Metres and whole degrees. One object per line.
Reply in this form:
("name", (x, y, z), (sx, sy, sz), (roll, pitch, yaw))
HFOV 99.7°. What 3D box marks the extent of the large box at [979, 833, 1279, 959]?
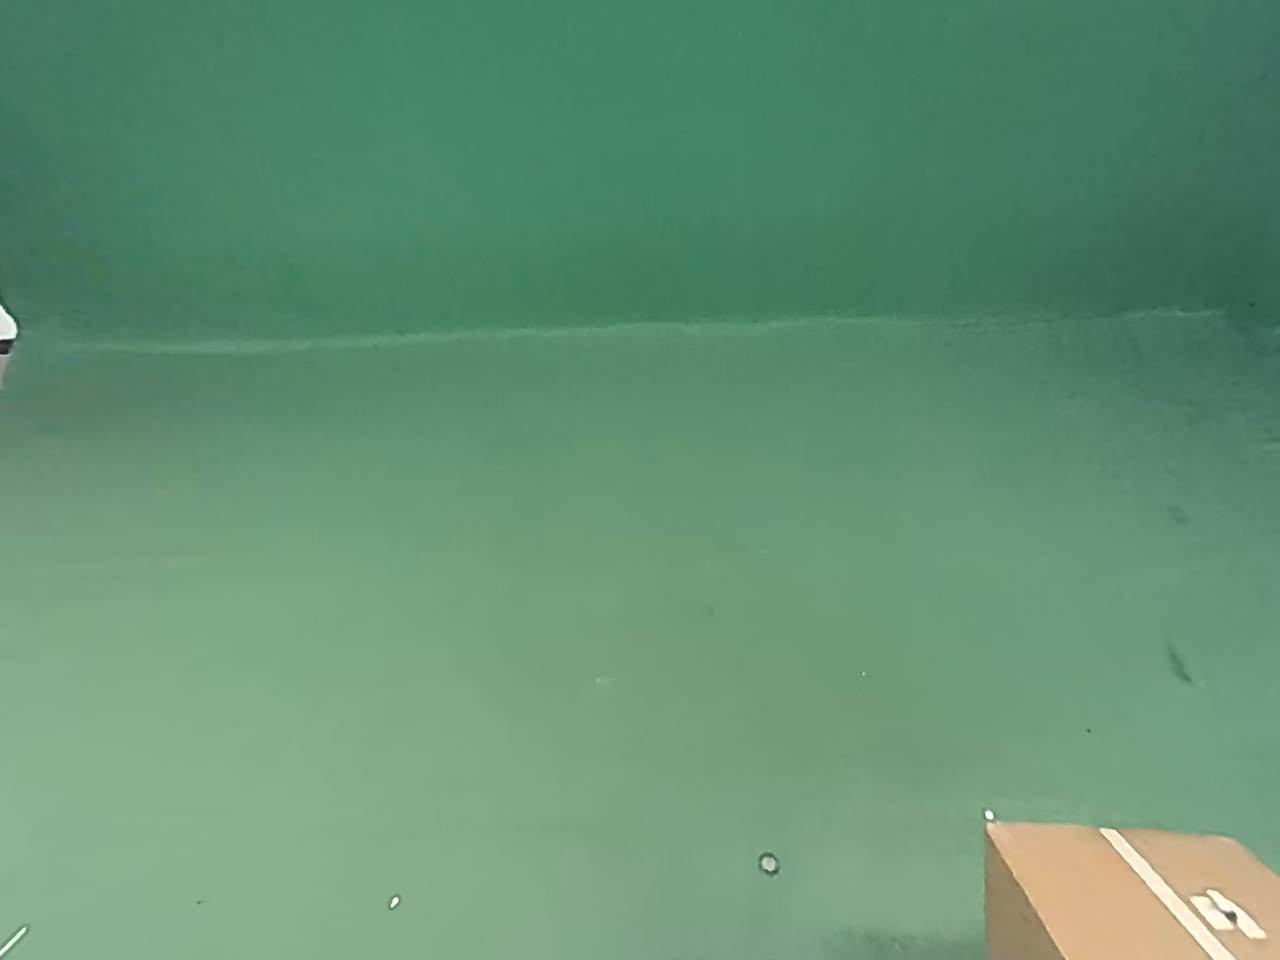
("large box", (0.628, 0.681, 0.591), (0.320, 0.320, 0.408), (-2, 4, 11))
